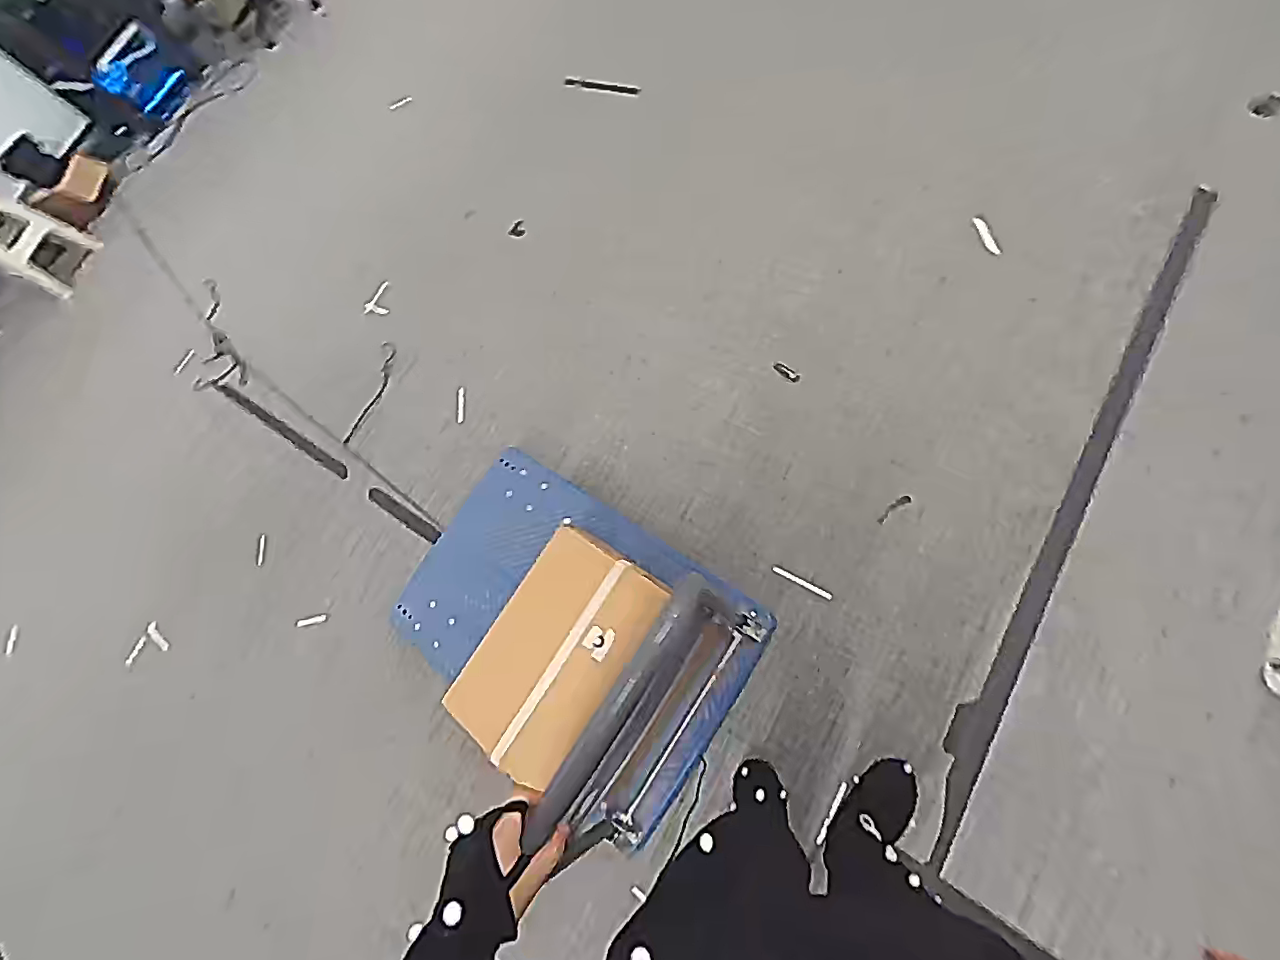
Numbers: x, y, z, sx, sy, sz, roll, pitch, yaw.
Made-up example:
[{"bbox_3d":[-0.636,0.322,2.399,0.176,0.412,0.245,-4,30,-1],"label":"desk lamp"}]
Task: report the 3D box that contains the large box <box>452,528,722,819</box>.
[{"bbox_3d":[-0.086,0.375,1.098,0.320,0.320,0.408,30,82,25],"label":"large box"}]
